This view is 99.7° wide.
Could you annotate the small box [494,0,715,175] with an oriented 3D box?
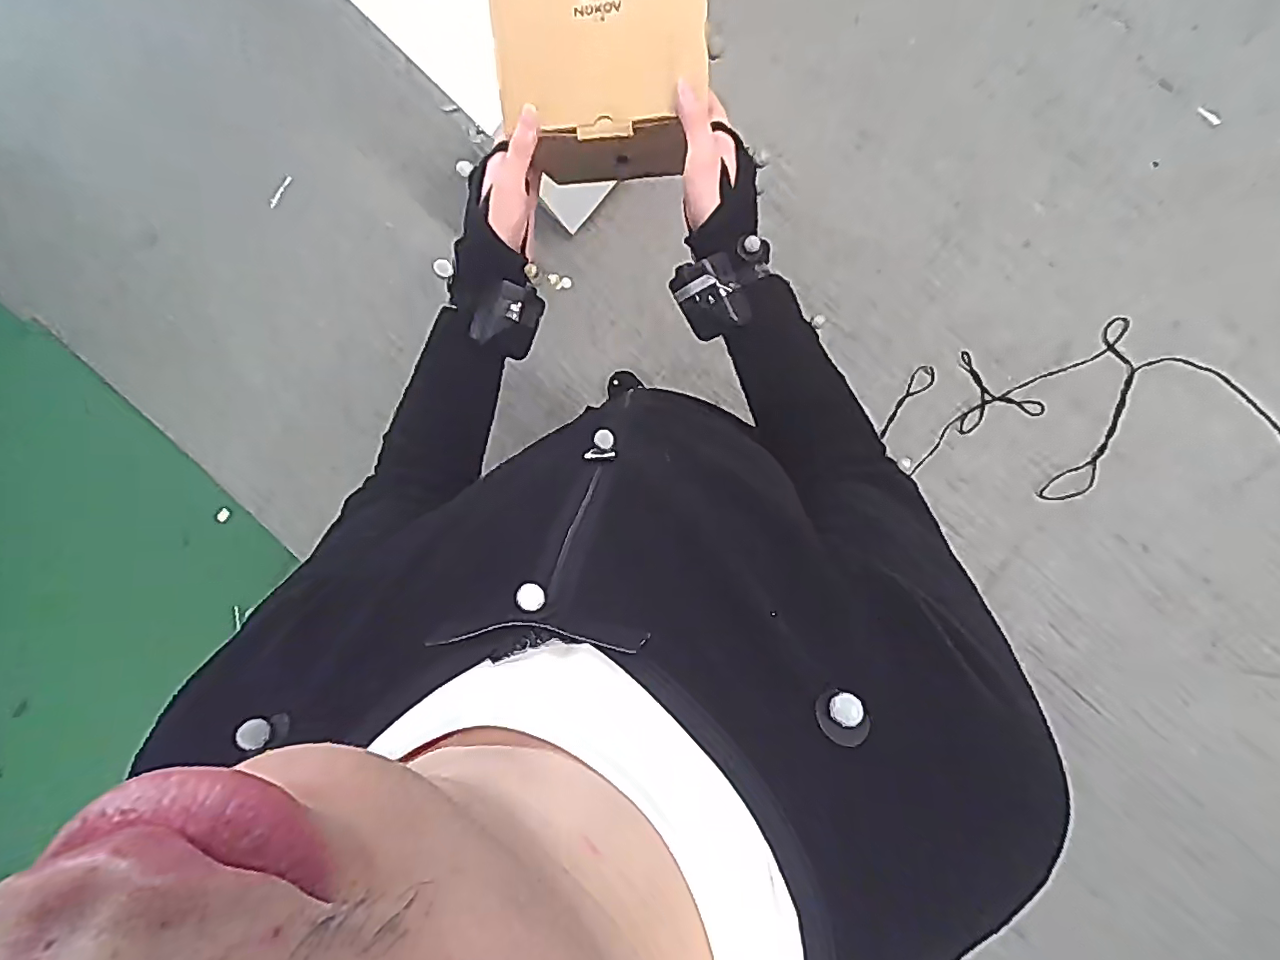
[{"bbox_3d":[-0.020,-0.388,0.480,0.168,0.176,0.179,-3,106,8],"label":"small box"}]
